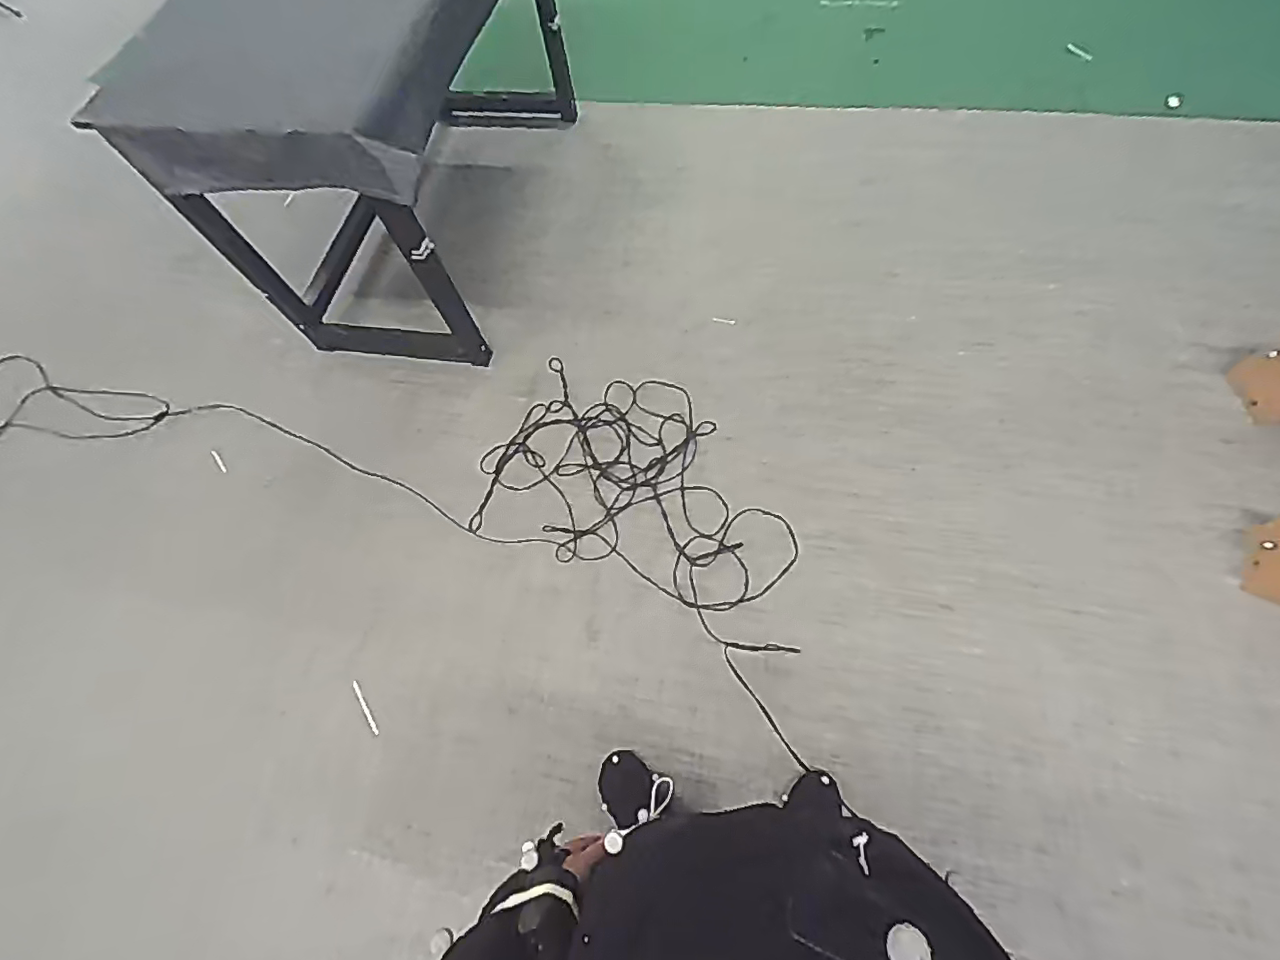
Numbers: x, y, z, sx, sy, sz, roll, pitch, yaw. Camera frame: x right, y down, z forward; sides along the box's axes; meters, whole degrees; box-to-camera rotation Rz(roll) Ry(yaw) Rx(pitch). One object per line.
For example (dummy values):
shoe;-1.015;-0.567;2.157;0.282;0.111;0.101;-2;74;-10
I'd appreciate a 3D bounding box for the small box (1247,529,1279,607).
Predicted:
small box;1.430;0.189;1.105;0.179;0.176;0.168;26;71;16
